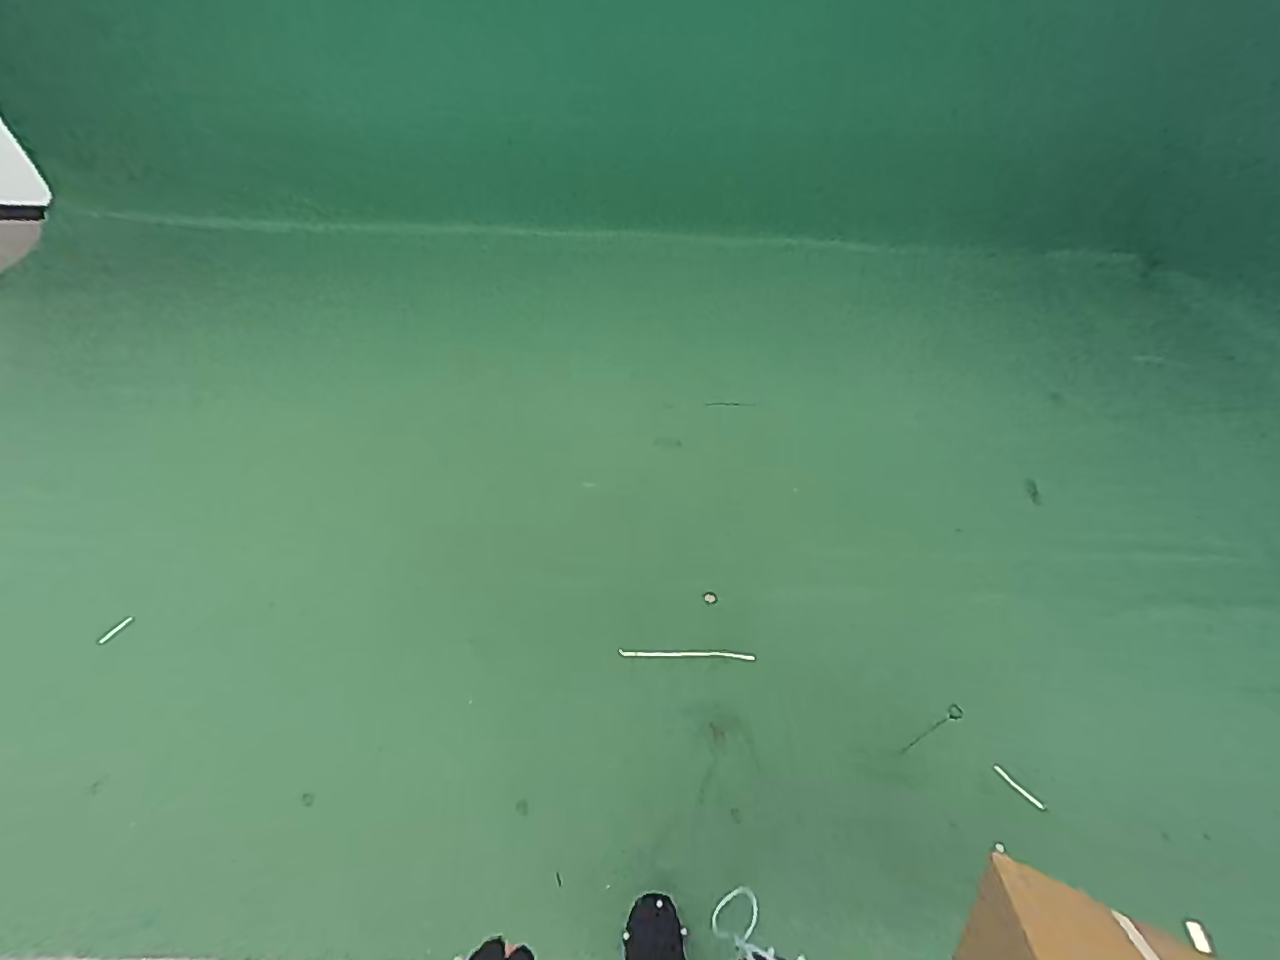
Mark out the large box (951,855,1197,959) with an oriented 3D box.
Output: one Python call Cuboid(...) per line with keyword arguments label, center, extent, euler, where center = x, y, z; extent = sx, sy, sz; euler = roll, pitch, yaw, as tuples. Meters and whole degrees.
Cuboid(label="large box", center=(0.541, 0.738, 0.589), extent=(0.320, 0.408, 0.320), euler=(21, 91, 23))
